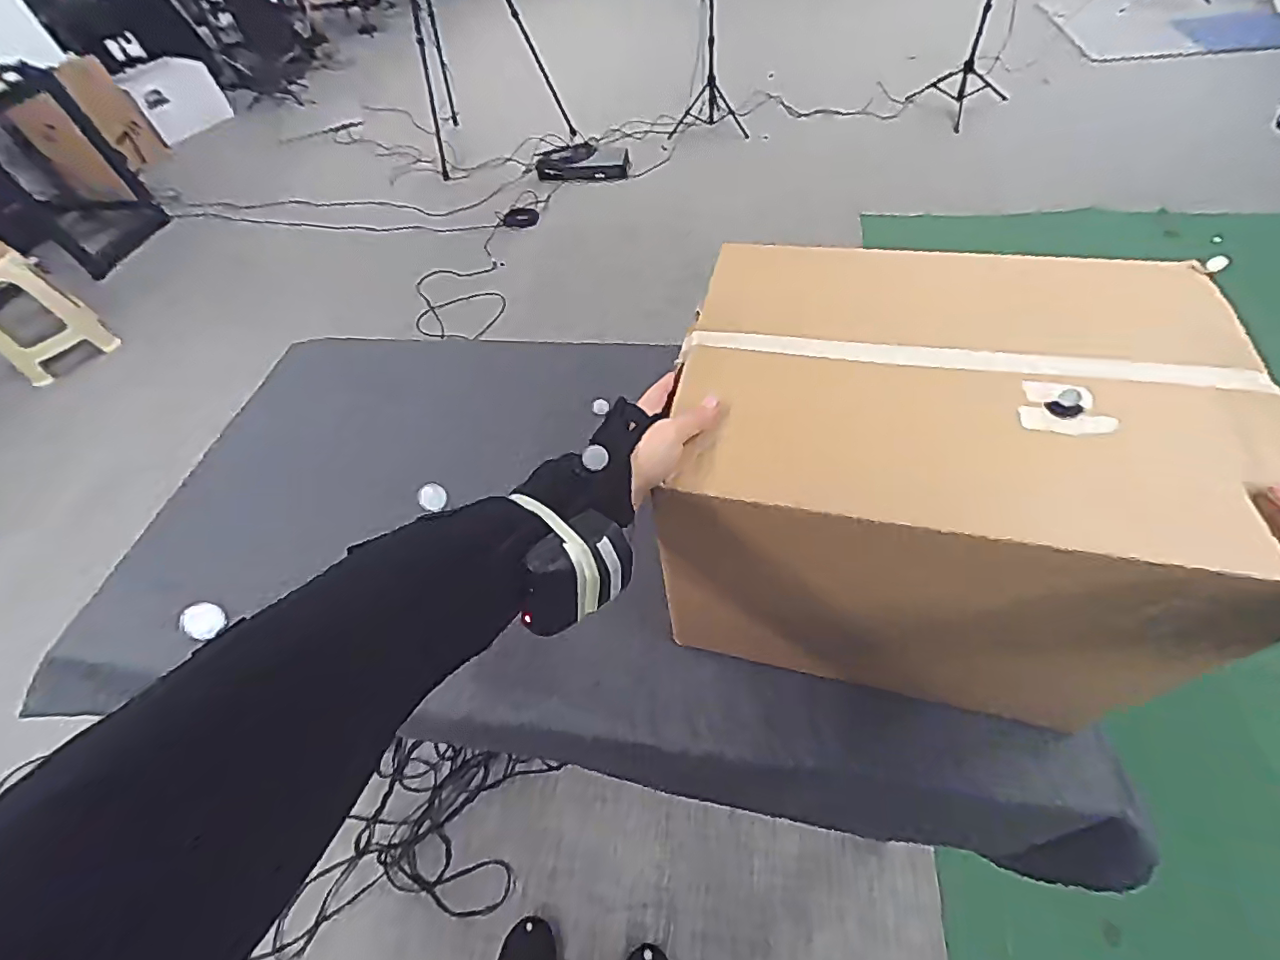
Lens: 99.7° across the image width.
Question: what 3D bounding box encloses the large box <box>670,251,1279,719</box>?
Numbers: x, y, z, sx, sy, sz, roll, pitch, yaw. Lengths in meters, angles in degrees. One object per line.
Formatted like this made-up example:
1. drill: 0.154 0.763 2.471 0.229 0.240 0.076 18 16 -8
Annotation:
1. large box: 0.257 0.003 0.541 0.408 0.320 0.320 9 55 13
